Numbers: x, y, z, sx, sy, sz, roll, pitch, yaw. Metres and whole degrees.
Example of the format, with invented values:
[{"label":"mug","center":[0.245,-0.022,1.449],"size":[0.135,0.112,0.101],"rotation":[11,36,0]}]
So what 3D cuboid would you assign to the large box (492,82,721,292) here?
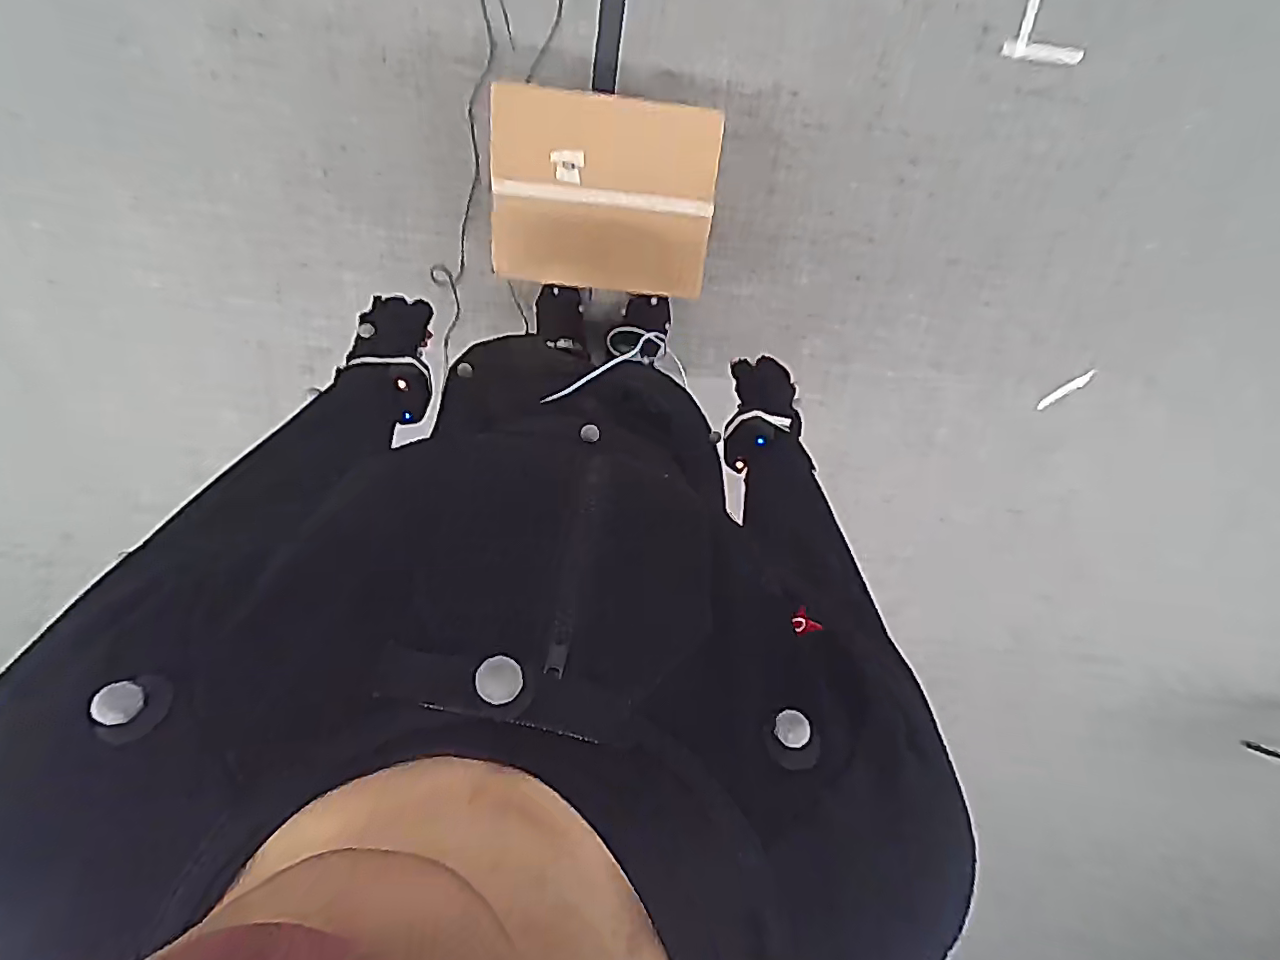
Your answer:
[{"label":"large box","center":[-0.068,-0.586,1.122],"size":[0.408,0.320,0.320],"rotation":[5,114,-3]}]
